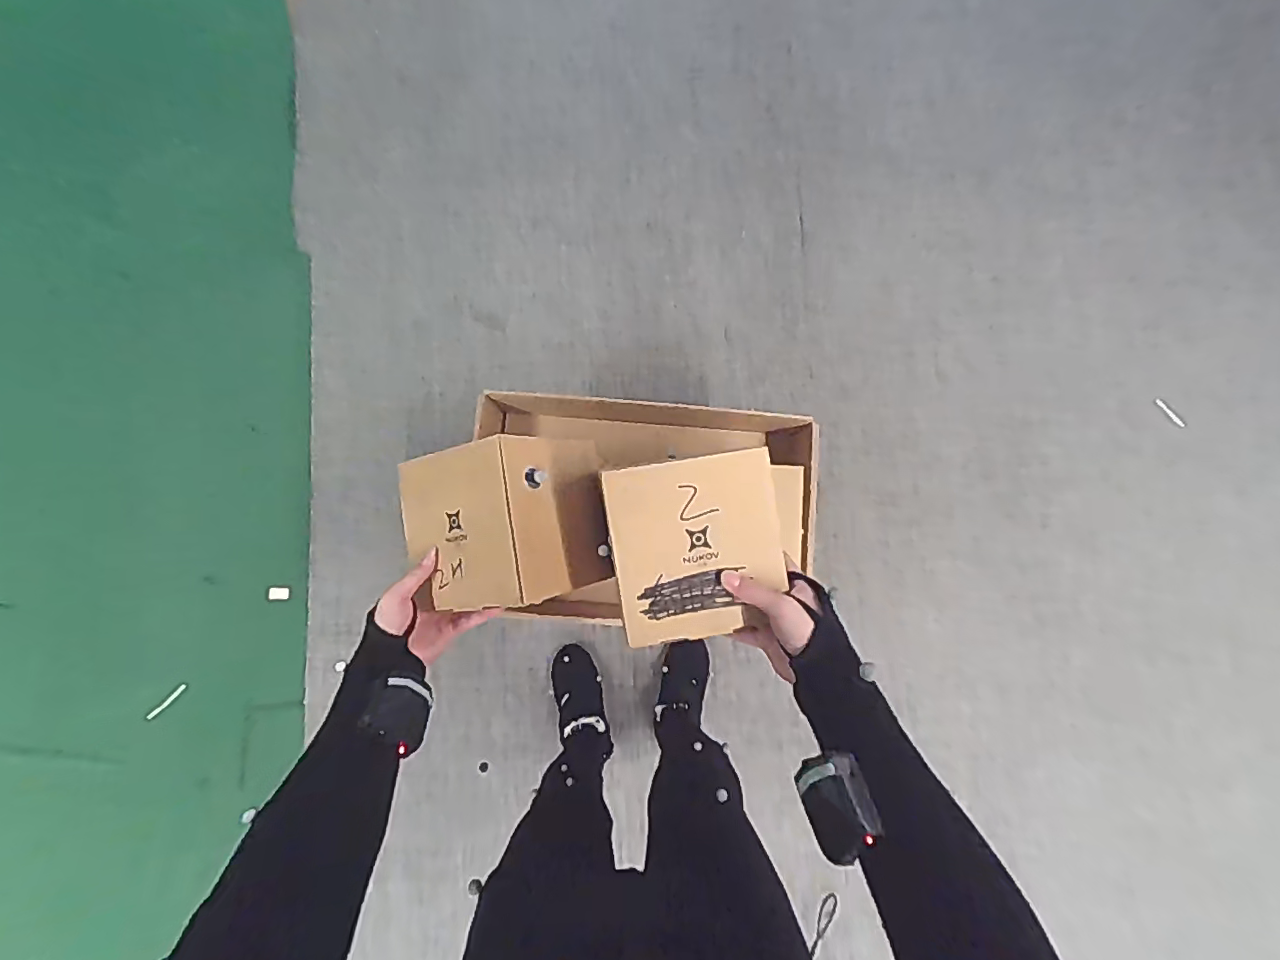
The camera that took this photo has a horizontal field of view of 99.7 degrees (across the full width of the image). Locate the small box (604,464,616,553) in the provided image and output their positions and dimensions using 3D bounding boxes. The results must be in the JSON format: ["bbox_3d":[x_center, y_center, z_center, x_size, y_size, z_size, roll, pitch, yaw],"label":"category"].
[{"bbox_3d":[-0.136,0.058,0.991,0.179,0.176,0.168,2,85,-2],"label":"small box"}]

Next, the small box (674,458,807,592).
[{"bbox_3d":[0.145,0.069,0.828,0.168,0.176,0.179,4,83,-1],"label":"small box"}]

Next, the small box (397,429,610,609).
[{"bbox_3d":[-0.153,0.046,0.635,0.168,0.176,0.179,-11,86,31],"label":"small box"}]
